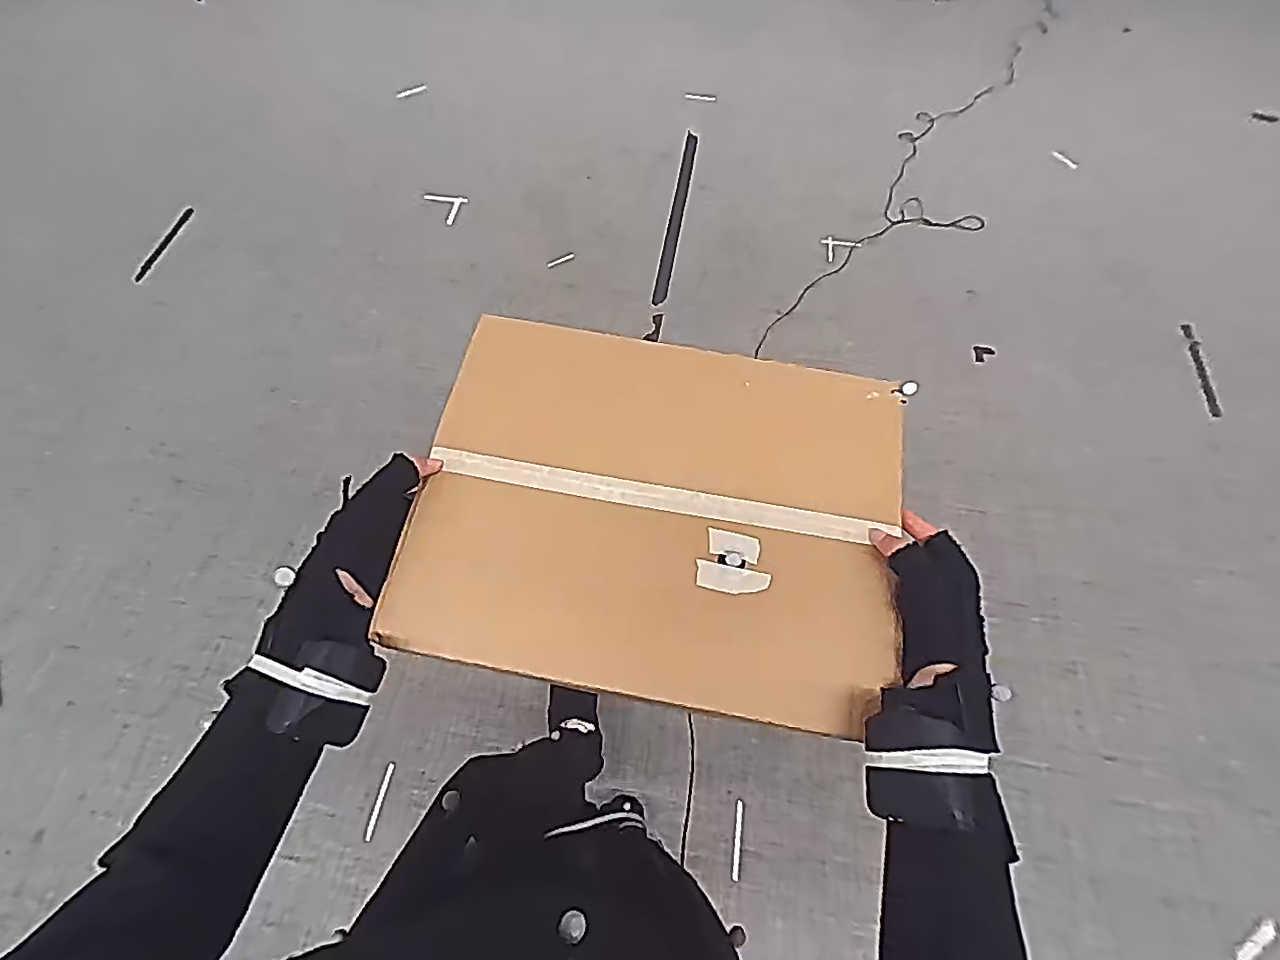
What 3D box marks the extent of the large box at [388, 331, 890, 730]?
[{"bbox_3d":[0.012,0.077,0.610,0.408,0.320,0.320,10,69,2],"label":"large box"}]
